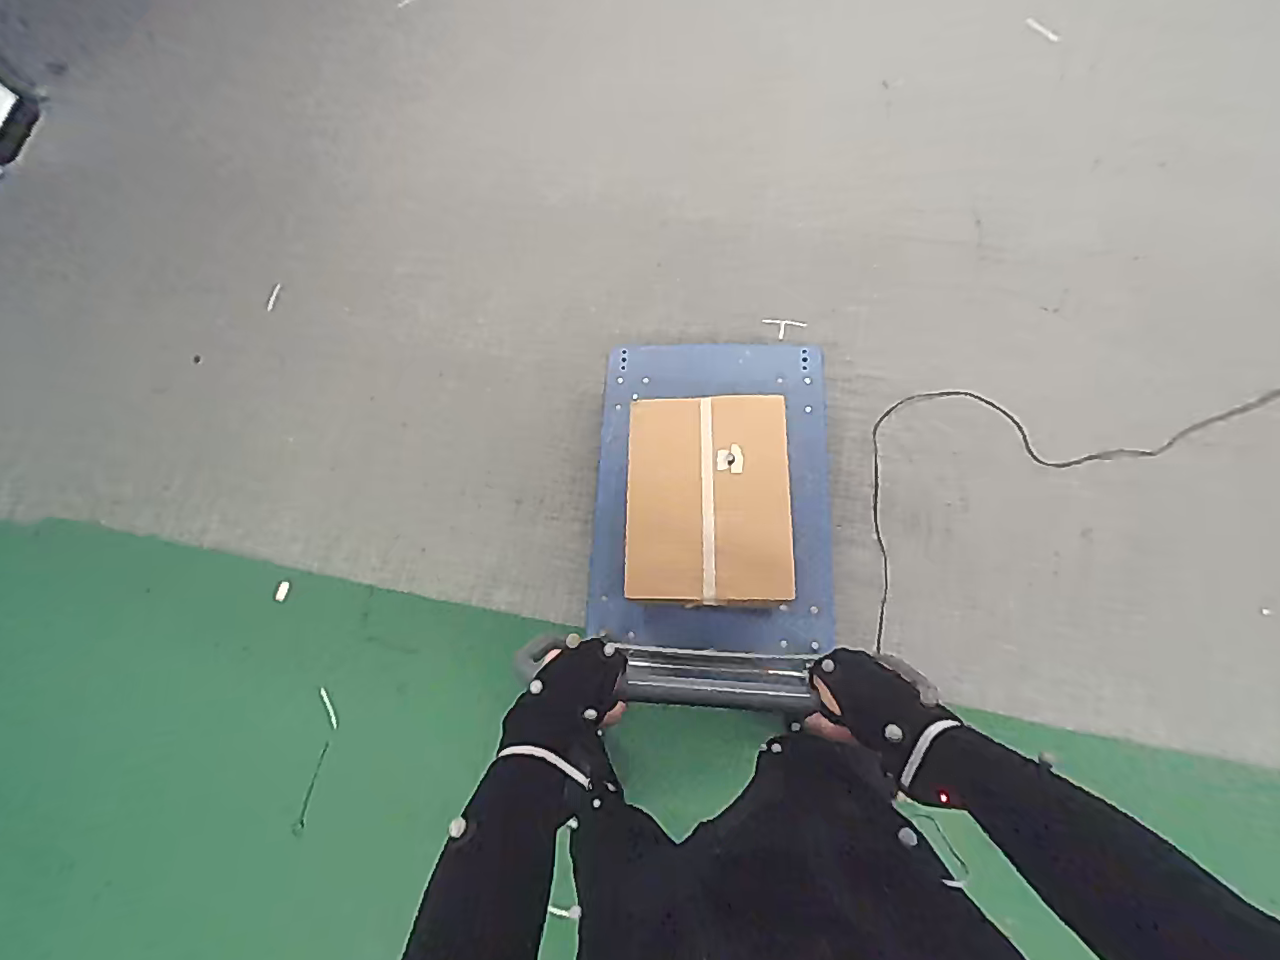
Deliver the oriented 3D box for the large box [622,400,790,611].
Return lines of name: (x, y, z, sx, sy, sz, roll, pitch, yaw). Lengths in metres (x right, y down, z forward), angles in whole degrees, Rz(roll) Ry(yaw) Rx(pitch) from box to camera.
large box: (0.138, 0.075, 1.192, 0.320, 0.320, 0.408, -1, 74, 6)
